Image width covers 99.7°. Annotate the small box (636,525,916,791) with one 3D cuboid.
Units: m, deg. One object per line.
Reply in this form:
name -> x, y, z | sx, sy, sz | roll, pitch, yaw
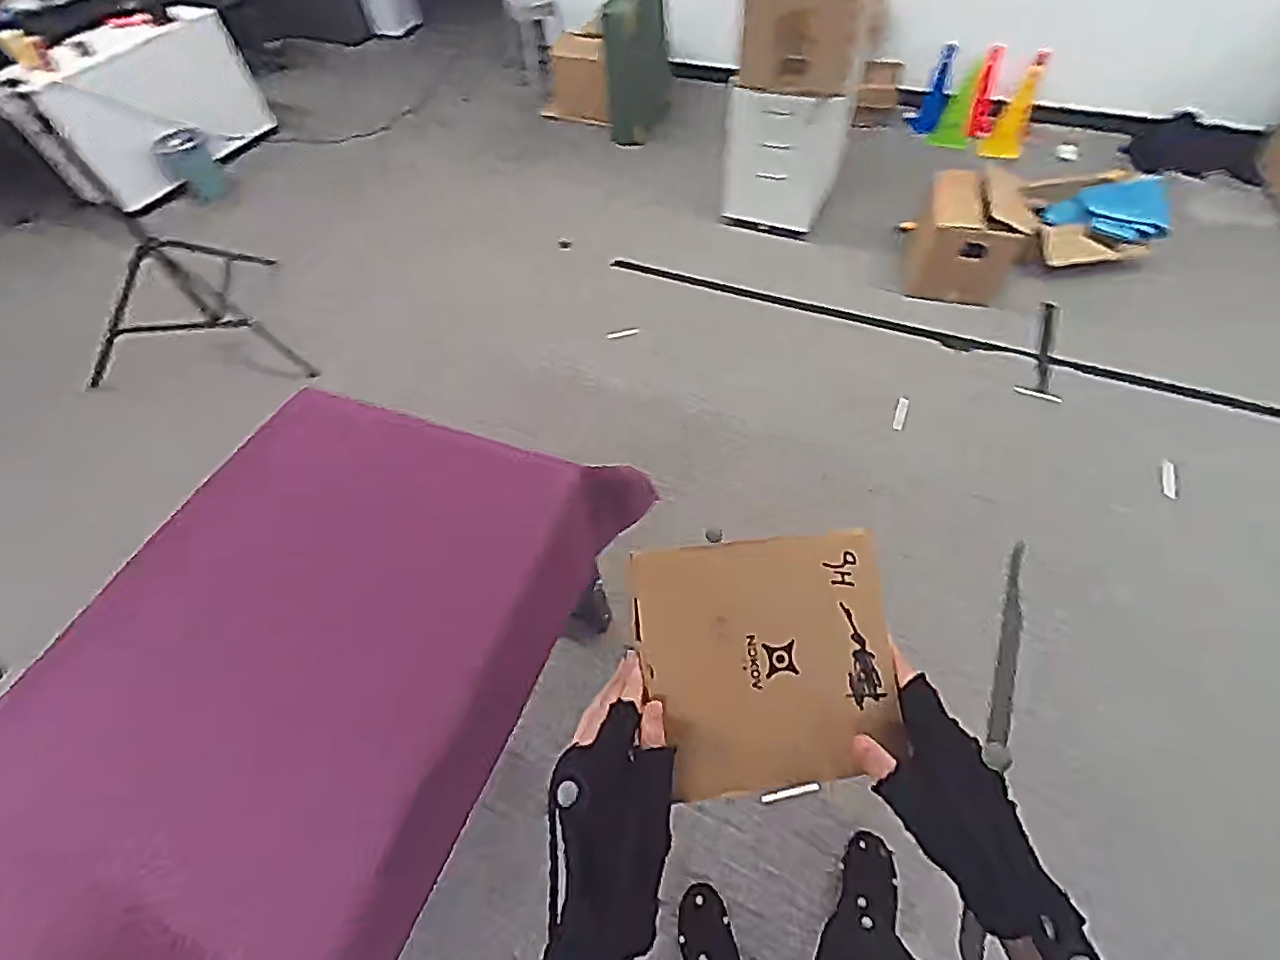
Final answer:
small box -> 0.090, 0.132, 0.450 | 0.179, 0.176, 0.168 | -5, 81, -3
